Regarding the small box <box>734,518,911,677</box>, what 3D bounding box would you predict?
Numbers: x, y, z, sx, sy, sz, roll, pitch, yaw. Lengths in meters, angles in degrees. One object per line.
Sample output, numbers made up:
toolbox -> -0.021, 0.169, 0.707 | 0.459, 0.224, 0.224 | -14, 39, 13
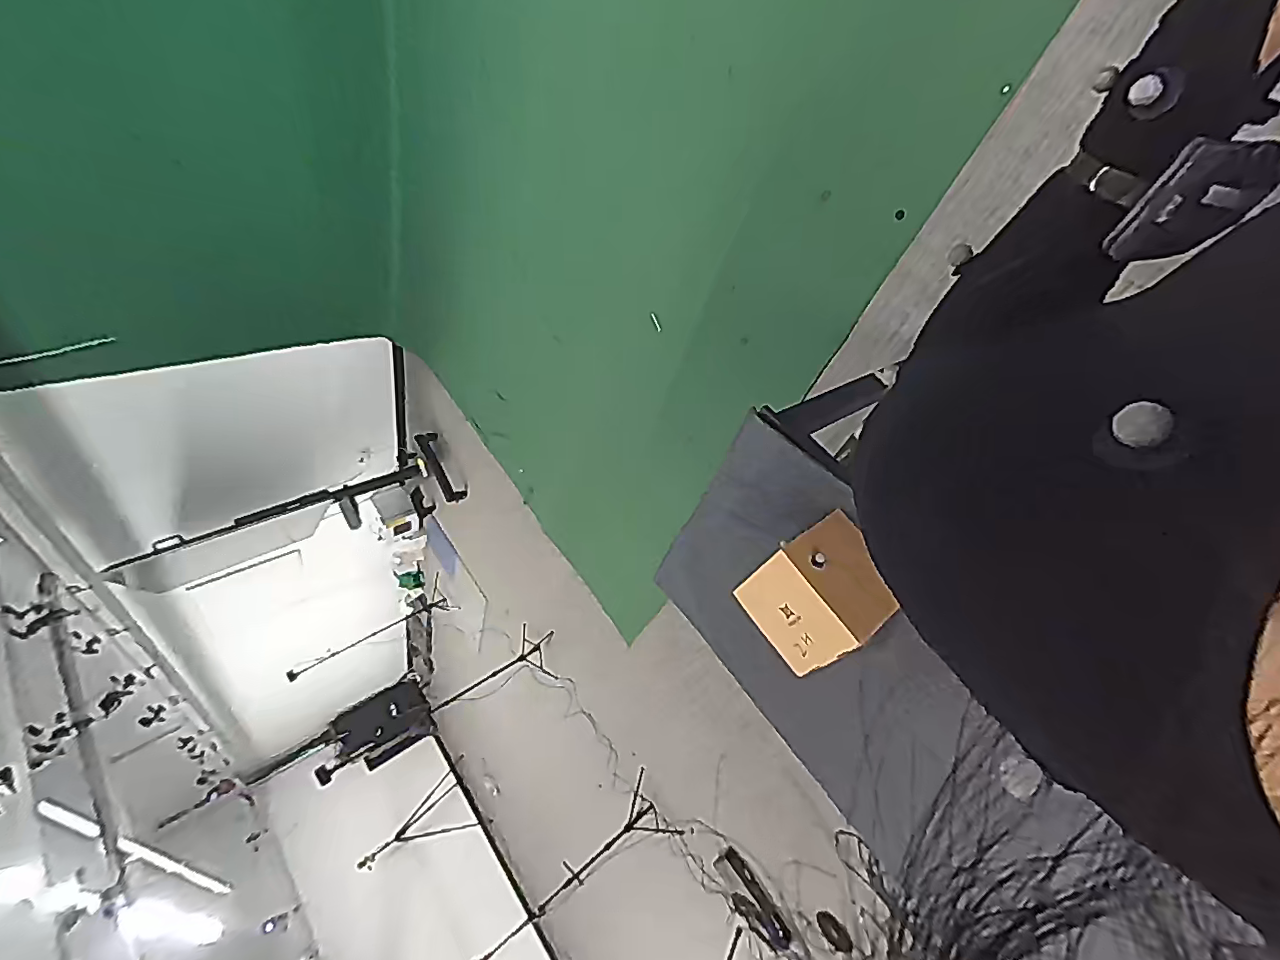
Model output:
small box -> 0.295, 0.183, 0.884 | 0.179, 0.176, 0.168 | 51, 143, 17
